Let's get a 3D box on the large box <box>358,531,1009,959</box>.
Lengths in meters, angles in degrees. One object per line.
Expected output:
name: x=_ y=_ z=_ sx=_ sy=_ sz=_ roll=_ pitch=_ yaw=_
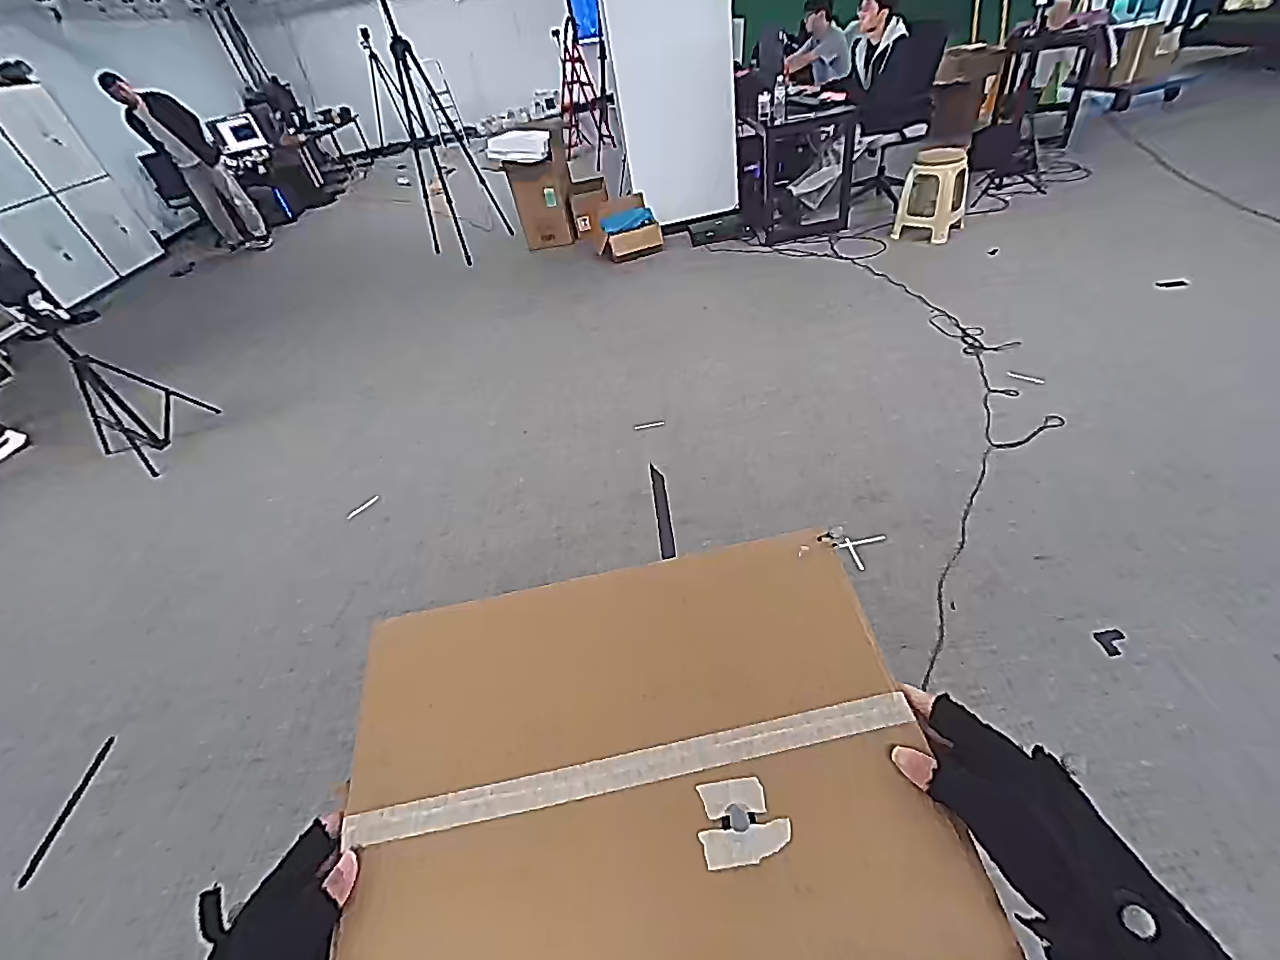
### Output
large box: x=0.012 y=0.295 z=0.517 sx=0.408 sy=0.320 sz=0.320 roll=-12 pitch=53 yaw=-2
